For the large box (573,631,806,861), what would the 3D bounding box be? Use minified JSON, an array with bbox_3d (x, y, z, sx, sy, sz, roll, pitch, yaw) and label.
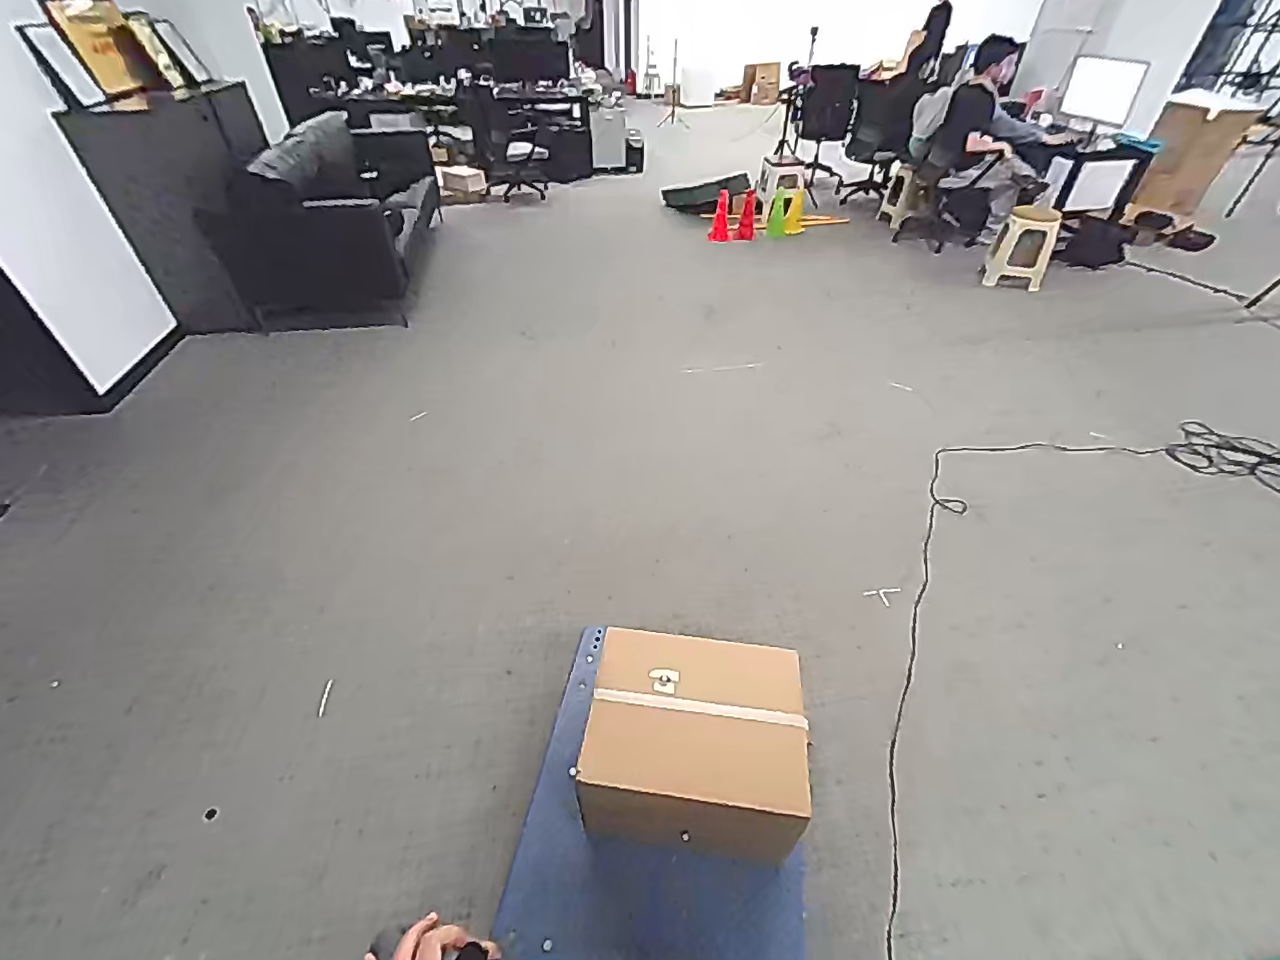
[{"bbox_3d":[0.104,0.549,1.124,0.408,0.320,0.320,5,41,7],"label":"large box"}]
